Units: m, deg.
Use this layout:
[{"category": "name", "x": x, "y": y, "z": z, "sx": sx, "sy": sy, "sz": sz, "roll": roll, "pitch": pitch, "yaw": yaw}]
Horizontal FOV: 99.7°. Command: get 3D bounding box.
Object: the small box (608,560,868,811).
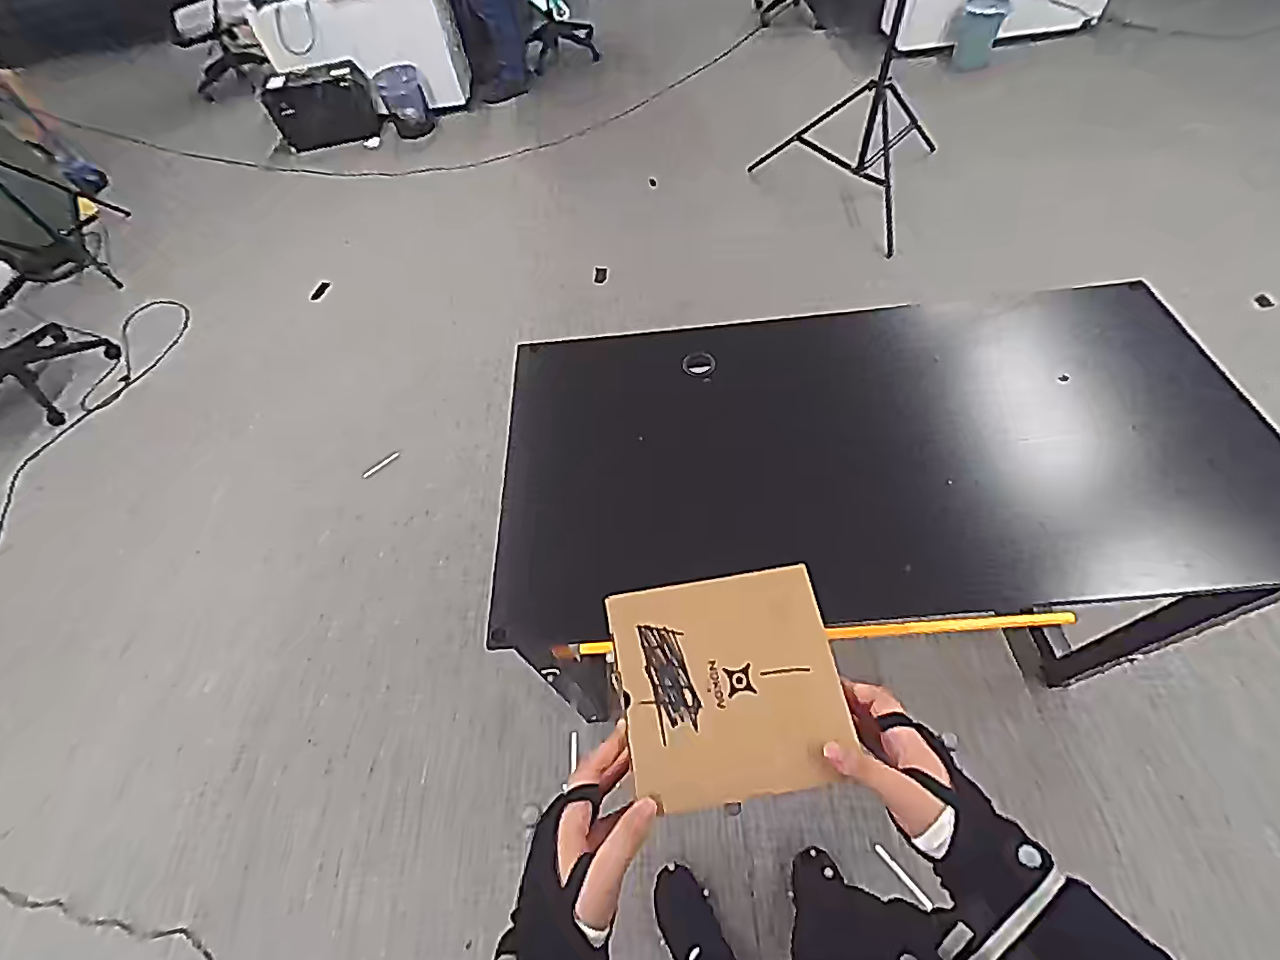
[{"category": "small box", "x": 0.072, "y": 0.187, "z": 0.495, "sx": 0.179, "sy": 0.176, "sz": 0.168, "roll": -9, "pitch": 66, "yaw": -3}]
